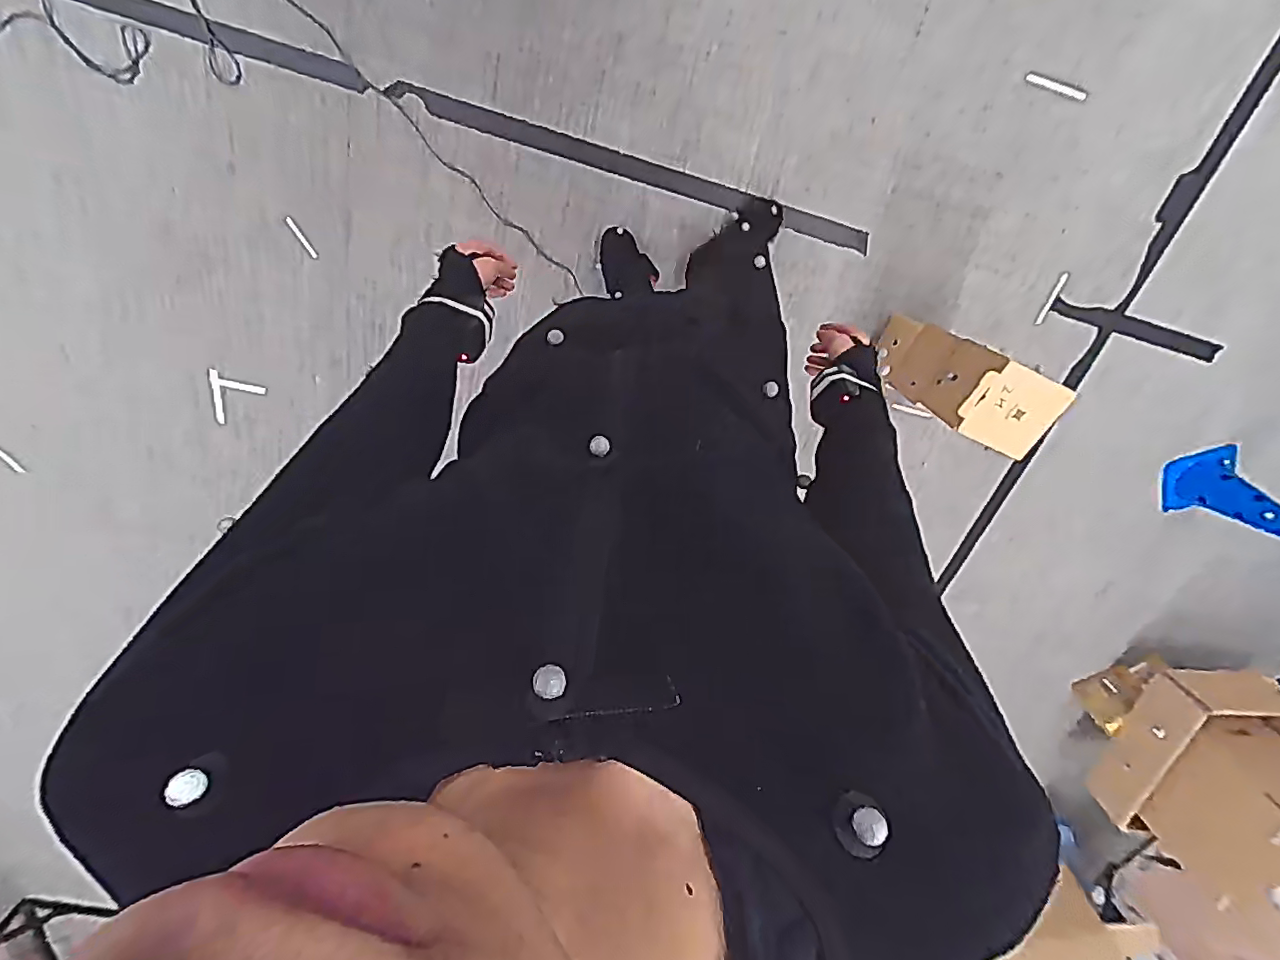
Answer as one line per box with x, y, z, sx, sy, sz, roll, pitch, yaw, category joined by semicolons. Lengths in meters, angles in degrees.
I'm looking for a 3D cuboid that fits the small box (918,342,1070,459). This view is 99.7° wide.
0.752;-0.178;1.169;0.179;0.176;0.168;22;116;-11;small box

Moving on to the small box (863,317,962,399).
0.738;-0.328;1.463;0.179;0.176;0.168;17;117;-9;small box
